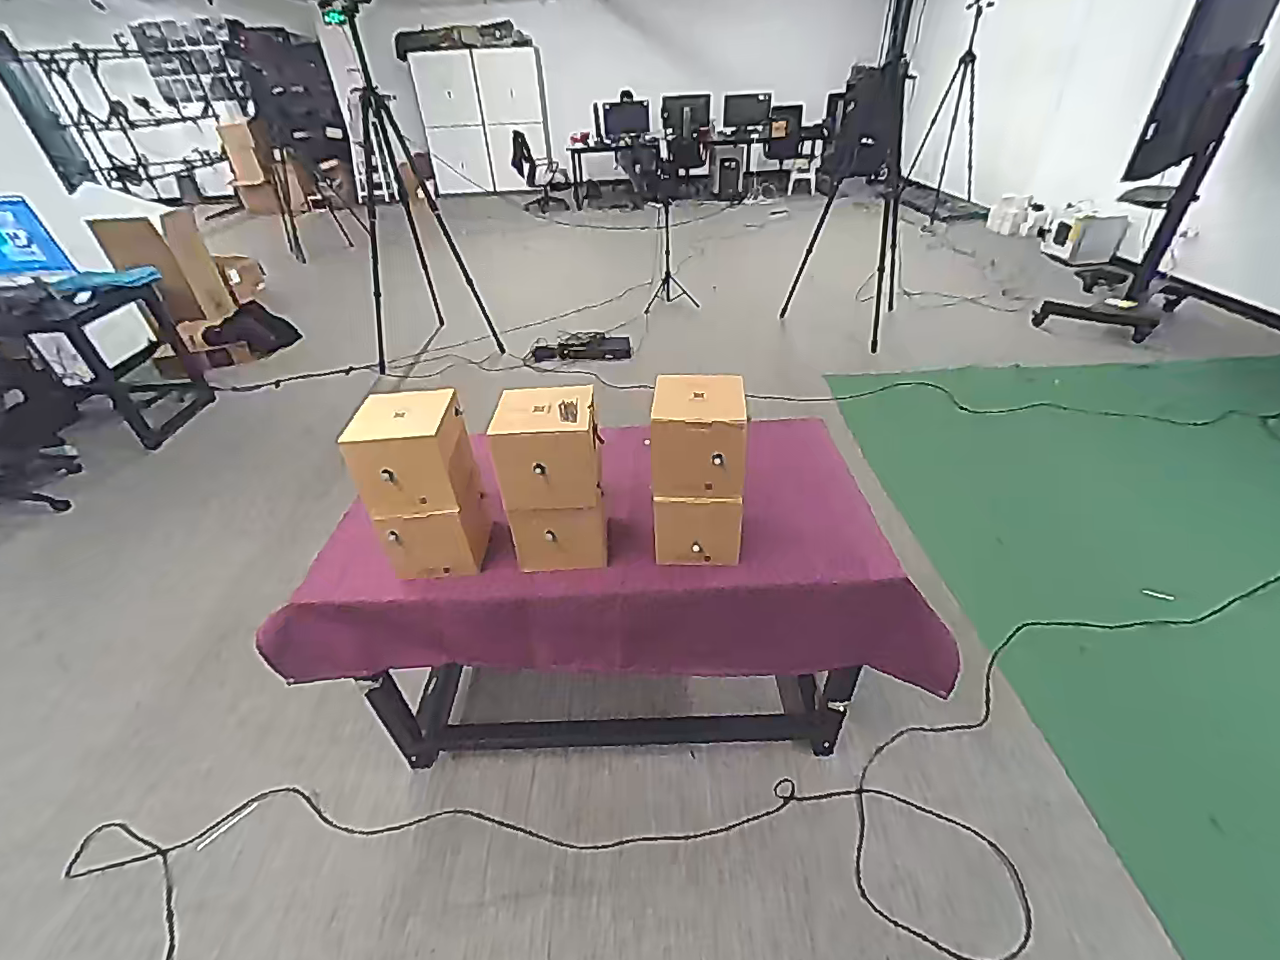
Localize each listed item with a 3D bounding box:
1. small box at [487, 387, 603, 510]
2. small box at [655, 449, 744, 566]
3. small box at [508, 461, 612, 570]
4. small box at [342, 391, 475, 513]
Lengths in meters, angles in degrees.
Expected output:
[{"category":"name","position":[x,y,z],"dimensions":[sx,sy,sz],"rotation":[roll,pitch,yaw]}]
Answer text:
[{"category":"small box","position":[-0.165,-0.058,1.010],"dimensions":[0.179,0.176,0.168],"rotation":[-3,36,2]},{"category":"small box","position":[0.121,0.053,1.106],"dimensions":[0.168,0.176,0.179],"rotation":[0,36,6]},{"category":"small box","position":[-0.156,0.071,1.113],"dimensions":[0.179,0.176,0.168],"rotation":[-4,37,1]},{"category":"small box","position":[-0.424,-0.049,1.027],"dimensions":[0.168,0.176,0.179],"rotation":[-5,35,-2]}]
